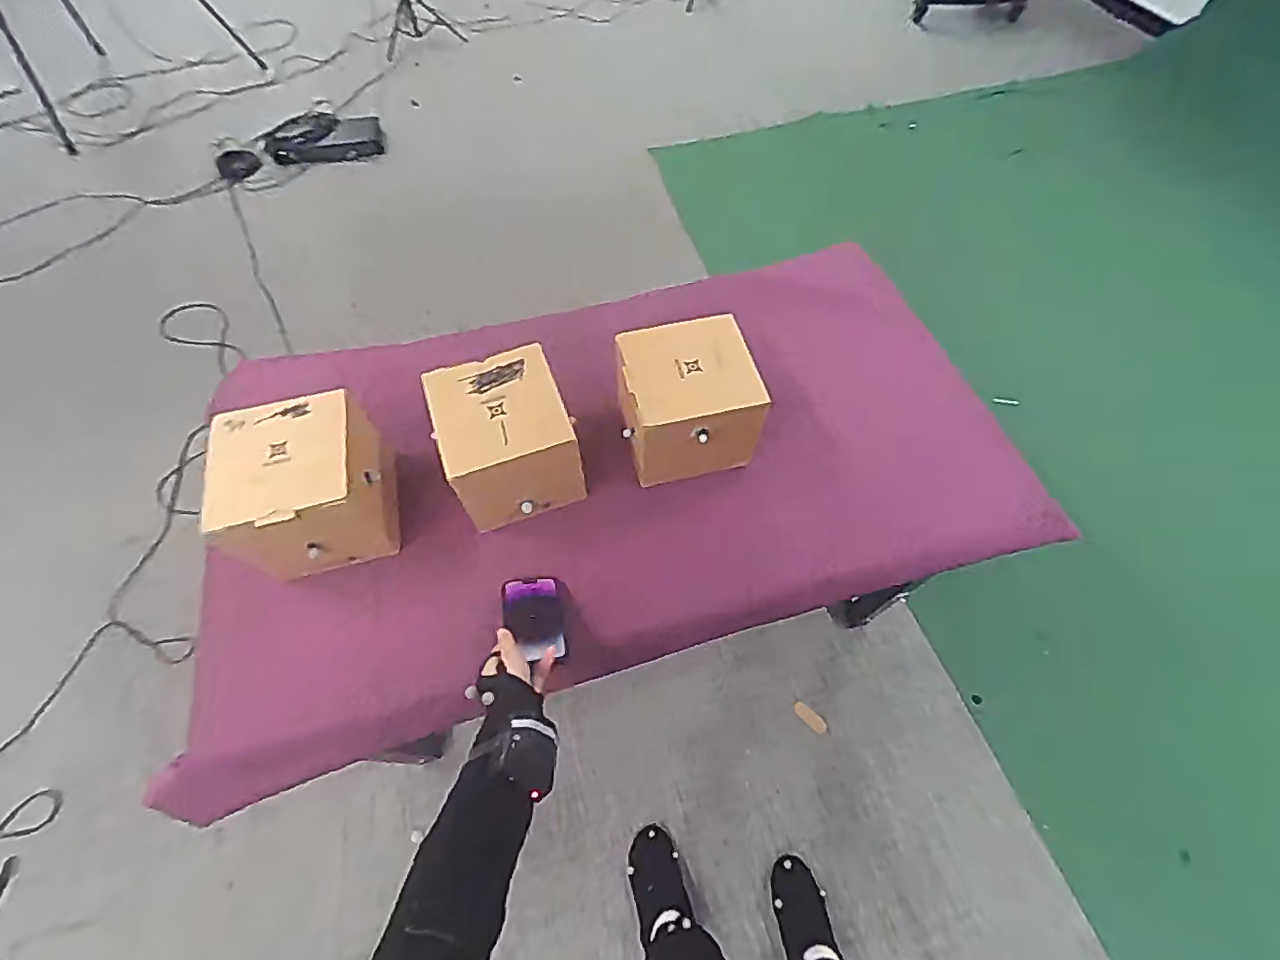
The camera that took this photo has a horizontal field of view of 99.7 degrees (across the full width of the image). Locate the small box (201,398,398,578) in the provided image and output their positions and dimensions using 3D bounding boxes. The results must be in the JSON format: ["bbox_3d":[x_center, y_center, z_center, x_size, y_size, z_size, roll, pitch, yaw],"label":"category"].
[{"bbox_3d":[-0.444,0.020,0.735,0.168,0.176,0.179,-14,61,-8],"label":"small box"}]

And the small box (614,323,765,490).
[{"bbox_3d":[0.065,-0.102,0.804,0.179,0.176,0.168,-11,61,-6],"label":"small box"}]

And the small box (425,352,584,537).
[{"bbox_3d":[-0.187,-0.047,0.772,0.168,0.176,0.179,-18,62,-10],"label":"small box"}]
